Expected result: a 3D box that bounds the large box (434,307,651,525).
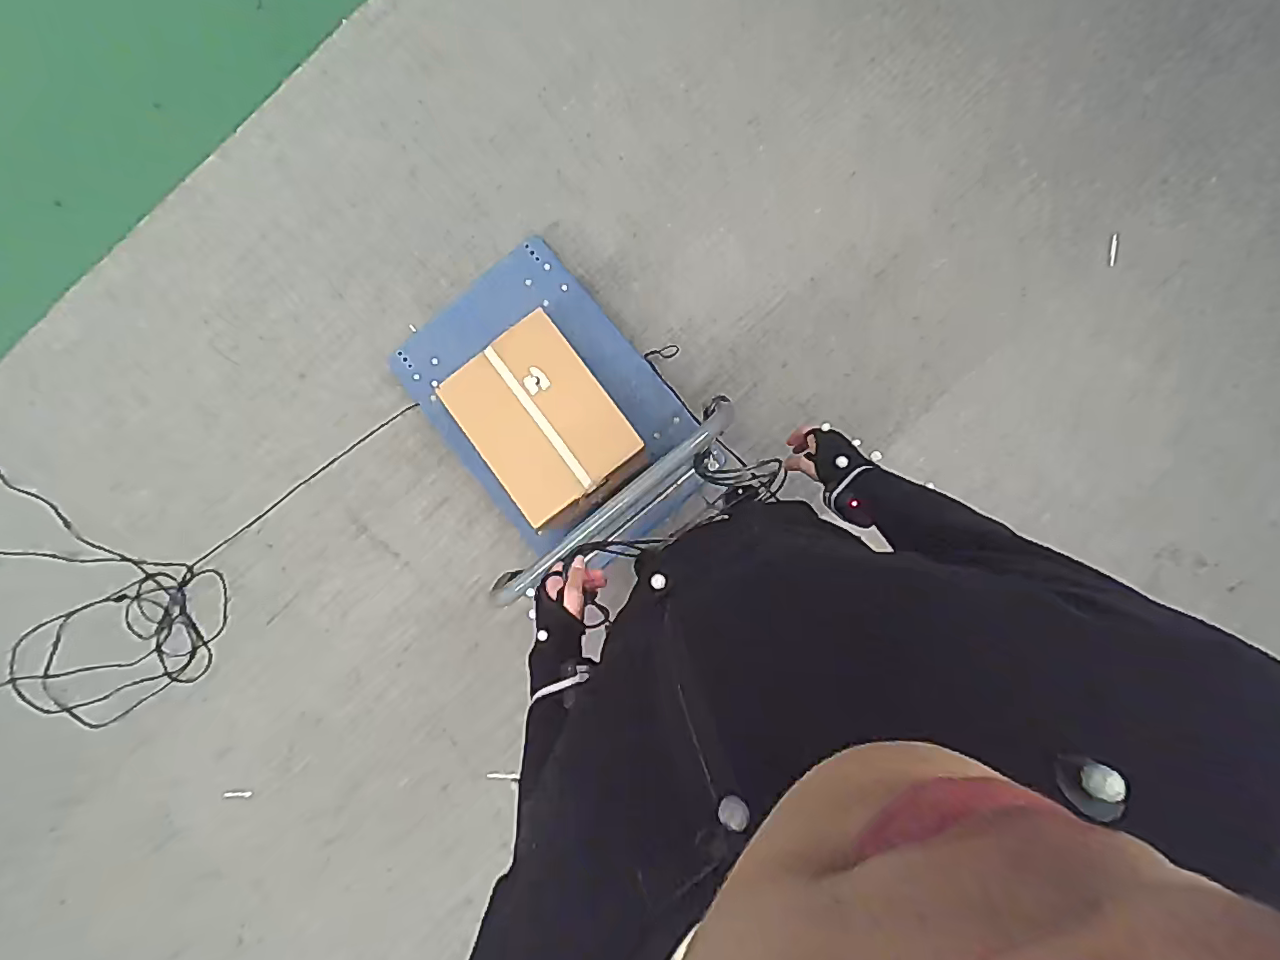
[{"bbox_3d":[-0.217,-0.137,1.350,0.320,0.320,0.408,-37,85,1],"label":"large box"}]
